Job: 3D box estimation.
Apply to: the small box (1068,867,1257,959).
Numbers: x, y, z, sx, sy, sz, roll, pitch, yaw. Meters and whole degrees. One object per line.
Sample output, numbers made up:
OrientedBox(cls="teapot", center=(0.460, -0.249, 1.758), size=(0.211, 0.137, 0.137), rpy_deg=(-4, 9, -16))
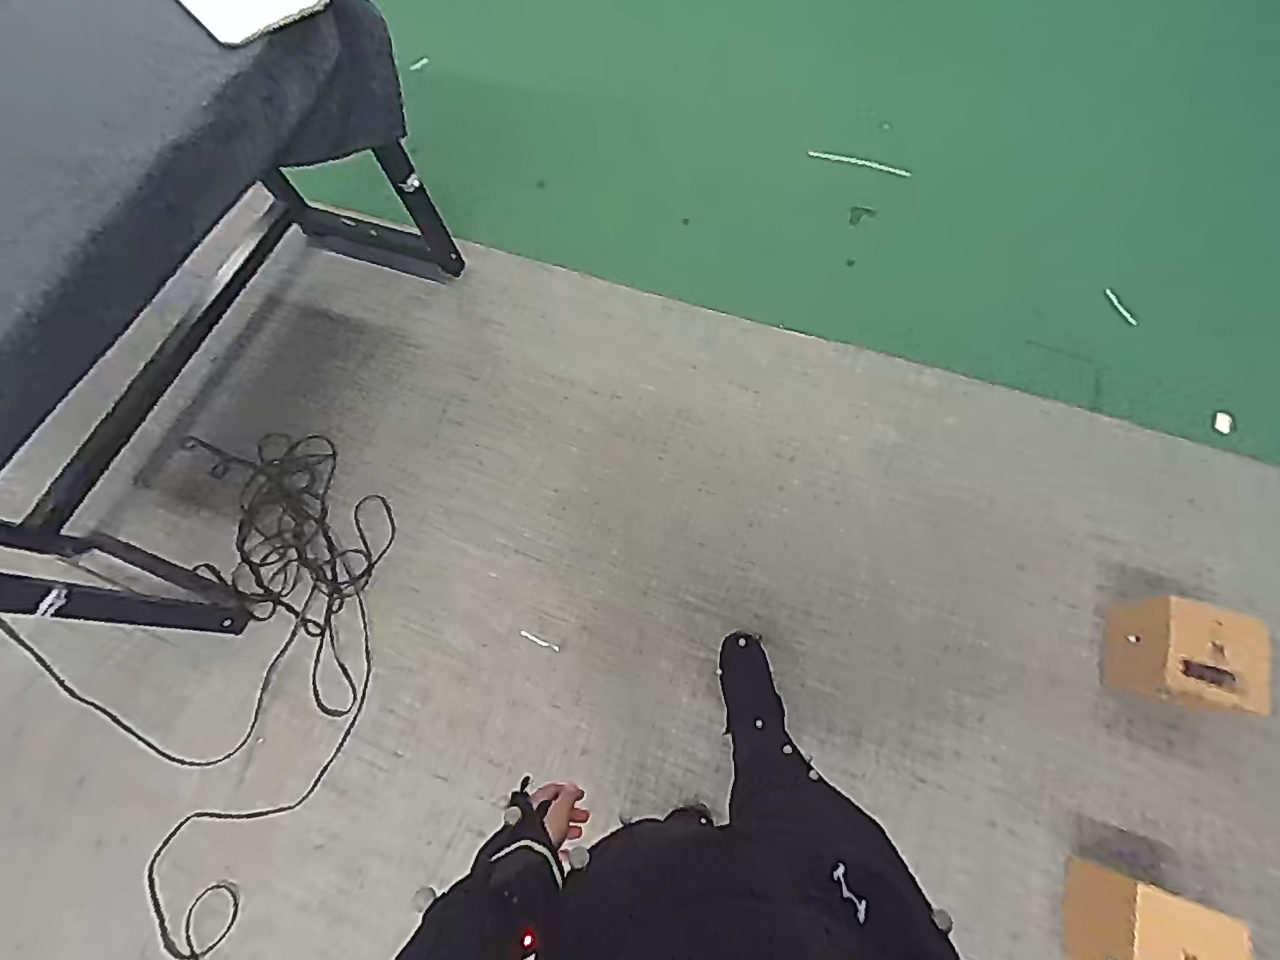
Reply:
OrientedBox(cls="small box", center=(0.862, 0.794, 0.907), size=(0.168, 0.176, 0.179), rpy_deg=(17, 72, 10))
